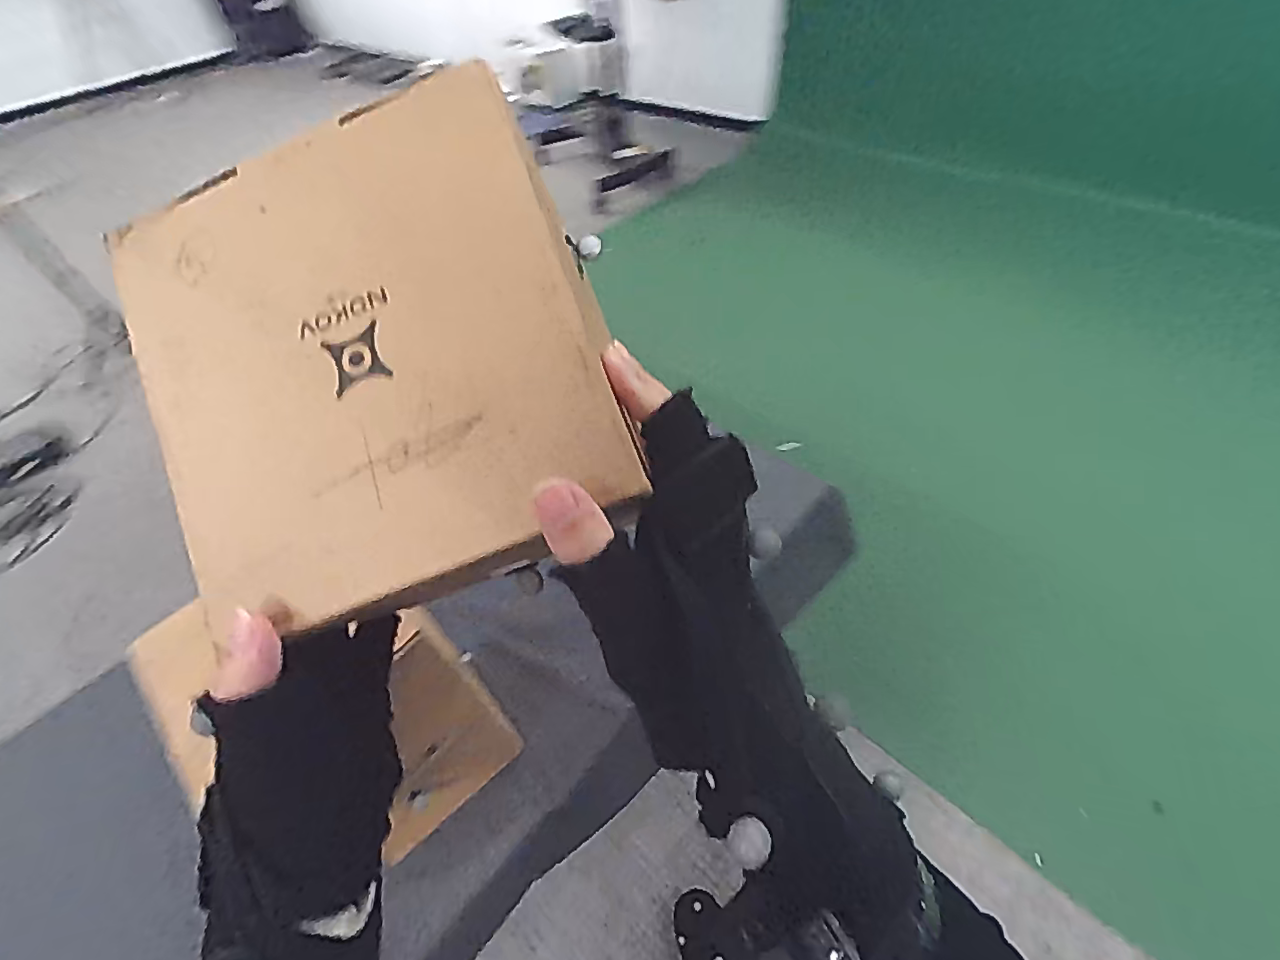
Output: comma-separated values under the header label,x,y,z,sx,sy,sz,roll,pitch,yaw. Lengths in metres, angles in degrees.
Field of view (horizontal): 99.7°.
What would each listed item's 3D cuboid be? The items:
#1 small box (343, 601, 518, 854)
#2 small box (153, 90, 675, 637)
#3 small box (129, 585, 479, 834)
label,x,y,z,sx,sy,sz,roll,pitch,yaw
small box,-0.268,0.280,0.613,0.168,0.176,0.179,33,60,32
small box,-0.088,-0.039,0.286,0.168,0.176,0.179,-21,83,6
small box,-0.274,0.179,0.479,0.179,0.176,0.168,30,59,27
